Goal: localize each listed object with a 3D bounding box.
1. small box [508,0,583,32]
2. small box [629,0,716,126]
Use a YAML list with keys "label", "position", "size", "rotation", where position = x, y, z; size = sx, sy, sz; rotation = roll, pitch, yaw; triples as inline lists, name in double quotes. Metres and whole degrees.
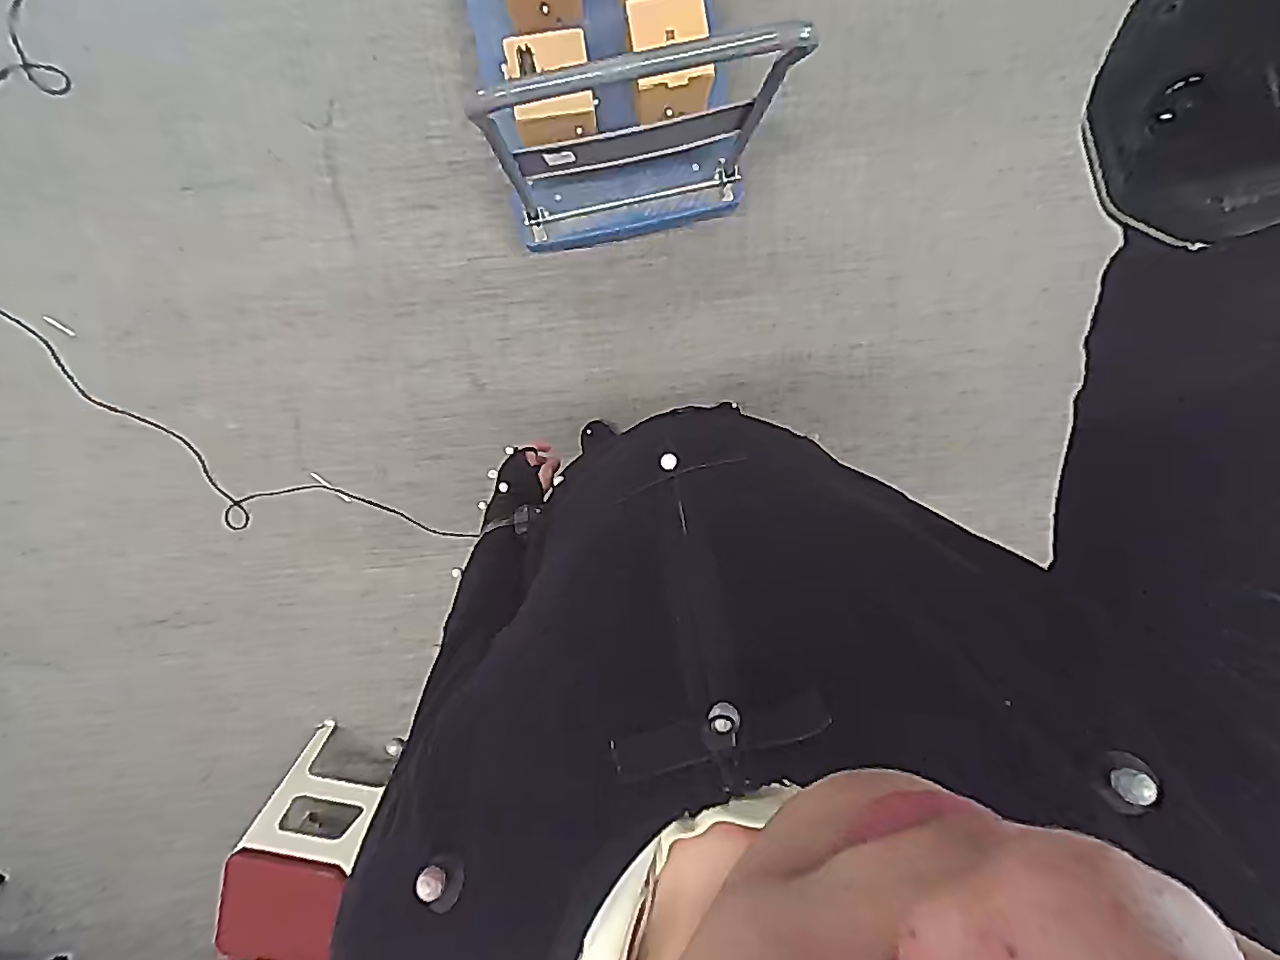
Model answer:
- label: "small box"
  position: [-0.229, -1.146, 1.200]
  size: [0.168, 0.176, 0.179]
  rotation: [-15, 99, 1]
- label: "small box"
  position: [0.068, -0.951, 1.233]
  size: [0.168, 0.176, 0.179]
  rotation: [-11, 99, 1]
